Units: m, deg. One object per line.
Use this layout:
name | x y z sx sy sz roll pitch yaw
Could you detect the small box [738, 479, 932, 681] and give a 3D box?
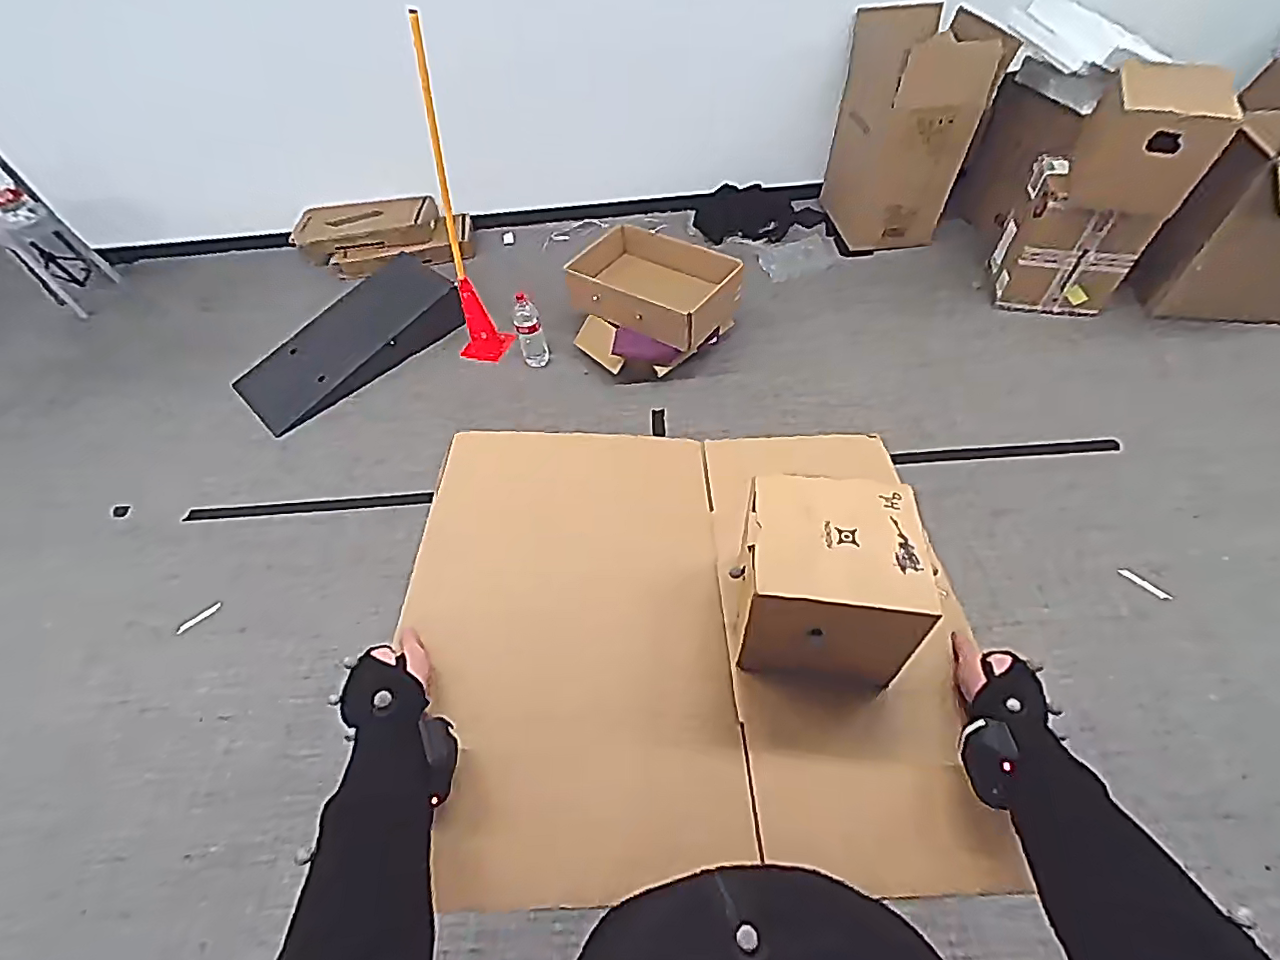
small box | 0.208 0.118 0.631 0.179 0.176 0.168 4 48 8
